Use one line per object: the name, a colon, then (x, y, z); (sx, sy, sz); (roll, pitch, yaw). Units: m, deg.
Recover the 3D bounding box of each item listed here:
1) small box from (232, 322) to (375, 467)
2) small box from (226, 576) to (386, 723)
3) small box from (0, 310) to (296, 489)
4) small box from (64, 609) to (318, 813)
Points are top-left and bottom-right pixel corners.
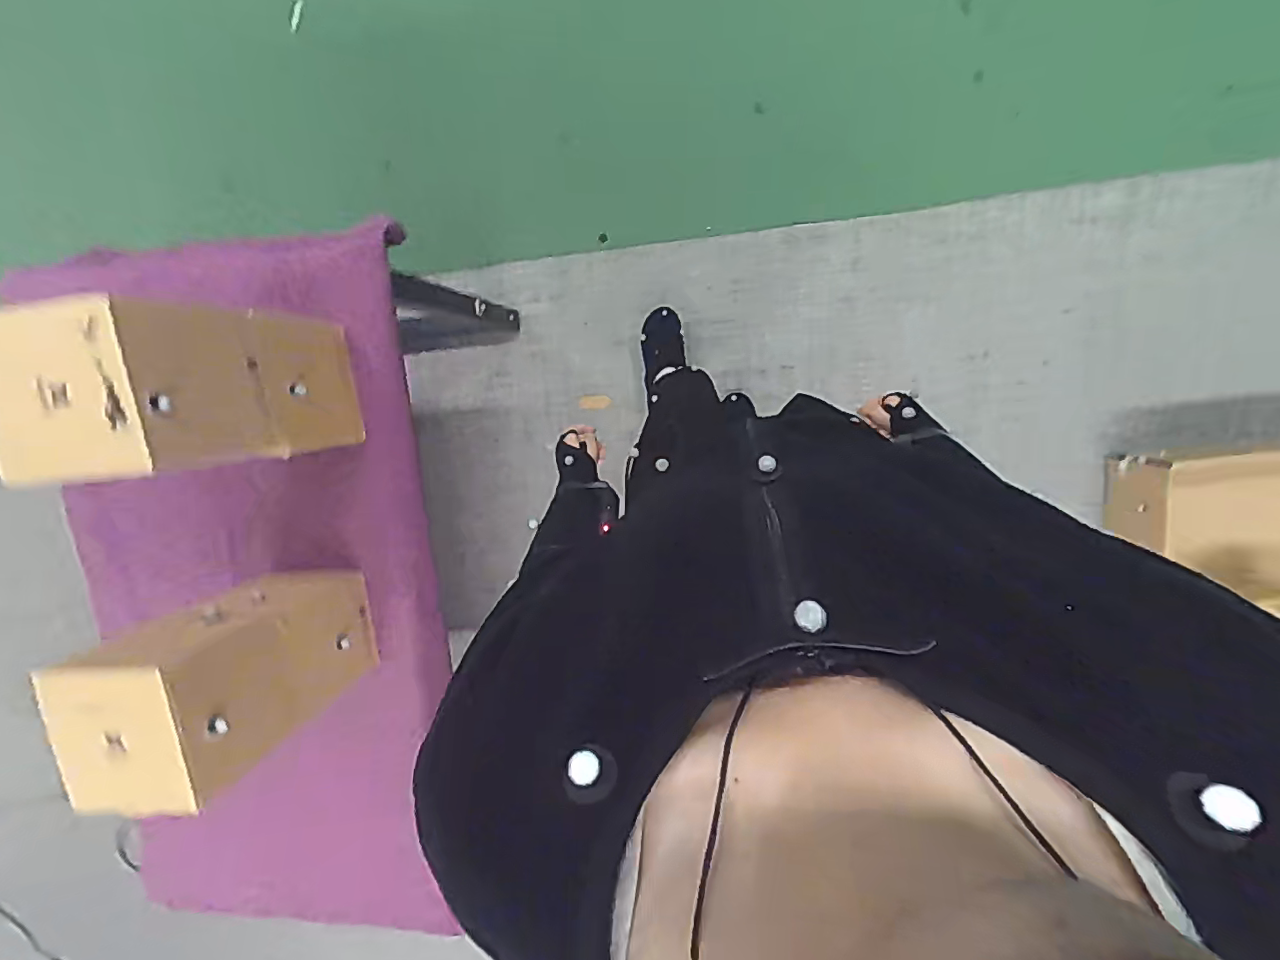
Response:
small box: (-0.514, -0.119, 0.773); (0.168, 0.176, 0.179); (-5, 101, 9)
small box: (-0.522, 0.255, 0.842); (0.179, 0.176, 0.168); (-4, 99, 11)
small box: (-0.541, -0.091, 0.613); (0.179, 0.176, 0.168); (-5, 102, 10)
small box: (-0.544, 0.278, 0.682); (0.168, 0.176, 0.179); (-4, 99, 10)
